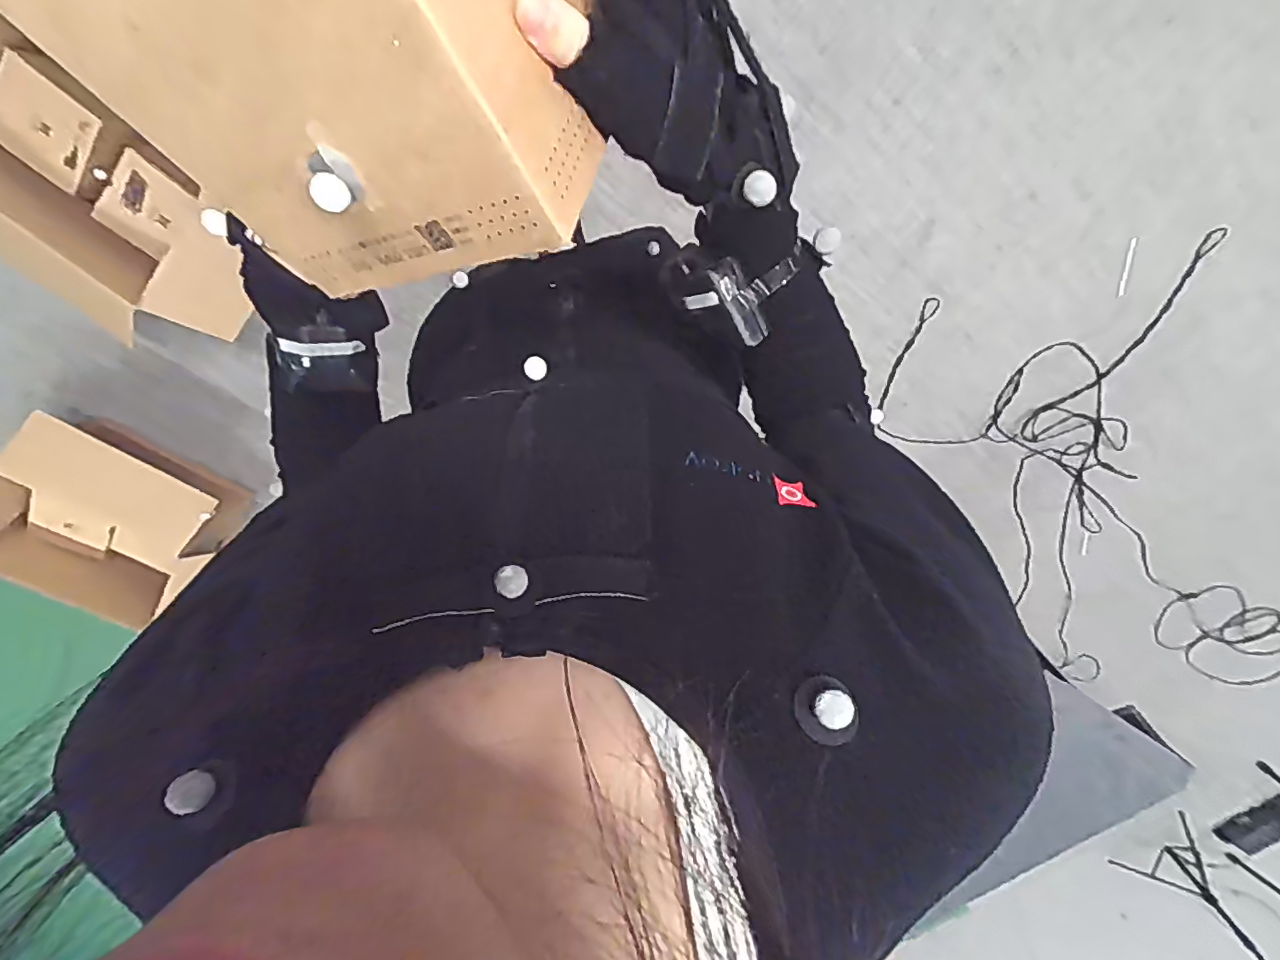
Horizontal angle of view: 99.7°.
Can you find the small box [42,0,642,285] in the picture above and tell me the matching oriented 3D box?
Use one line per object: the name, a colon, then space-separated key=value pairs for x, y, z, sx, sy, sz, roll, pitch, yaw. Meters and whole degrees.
small box: x=-0.113 y=-0.218 z=0.238 sx=0.168 sy=0.179 sz=0.176 roll=0 pitch=153 yaw=27
